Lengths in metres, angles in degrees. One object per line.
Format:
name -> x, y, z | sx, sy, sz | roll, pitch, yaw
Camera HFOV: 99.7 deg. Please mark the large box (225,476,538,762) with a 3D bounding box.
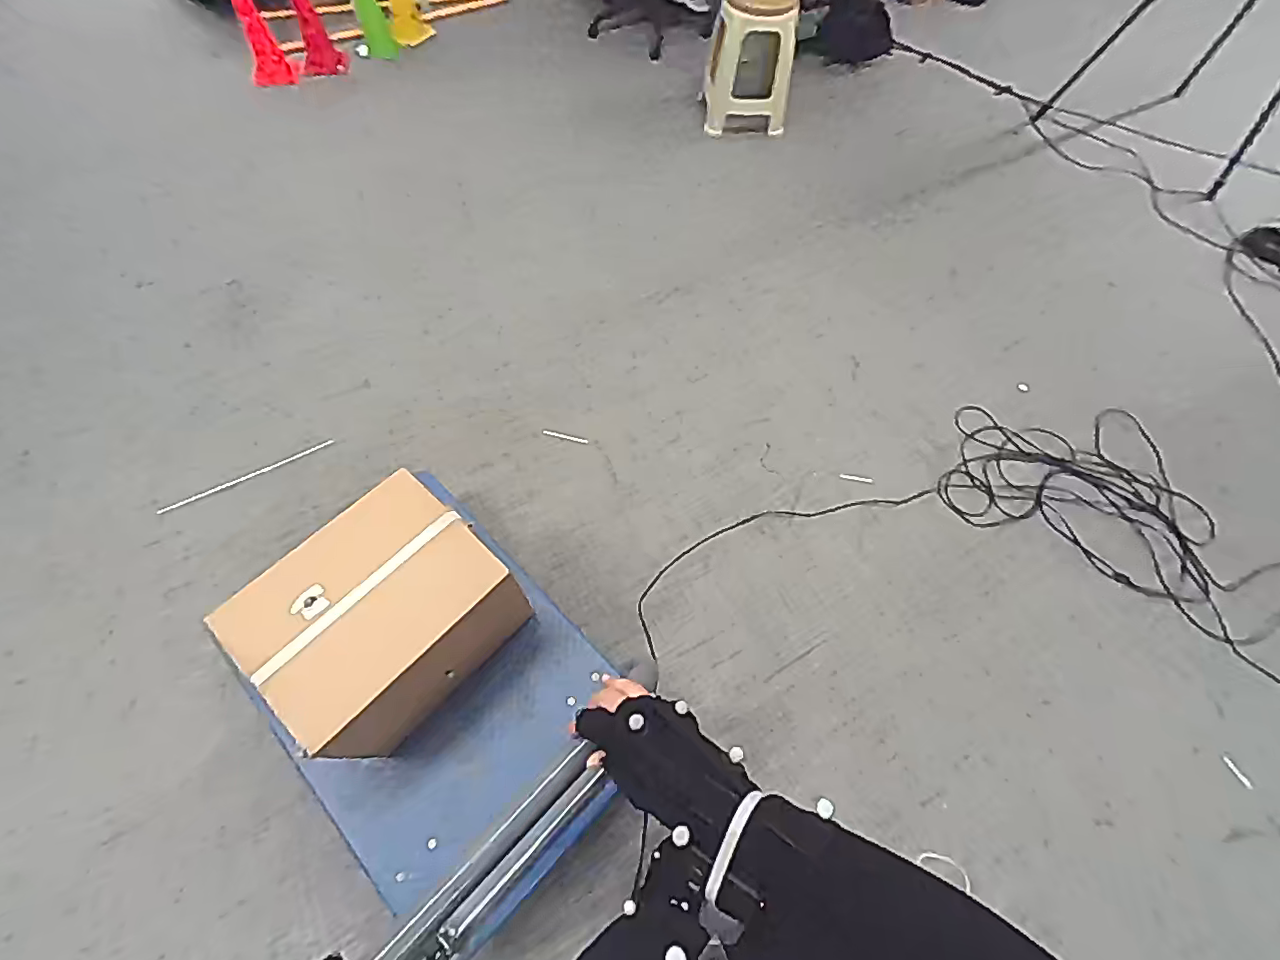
large box -> -0.463, 0.276, 1.071 | 0.320, 0.320, 0.408 | 38, 68, 17
